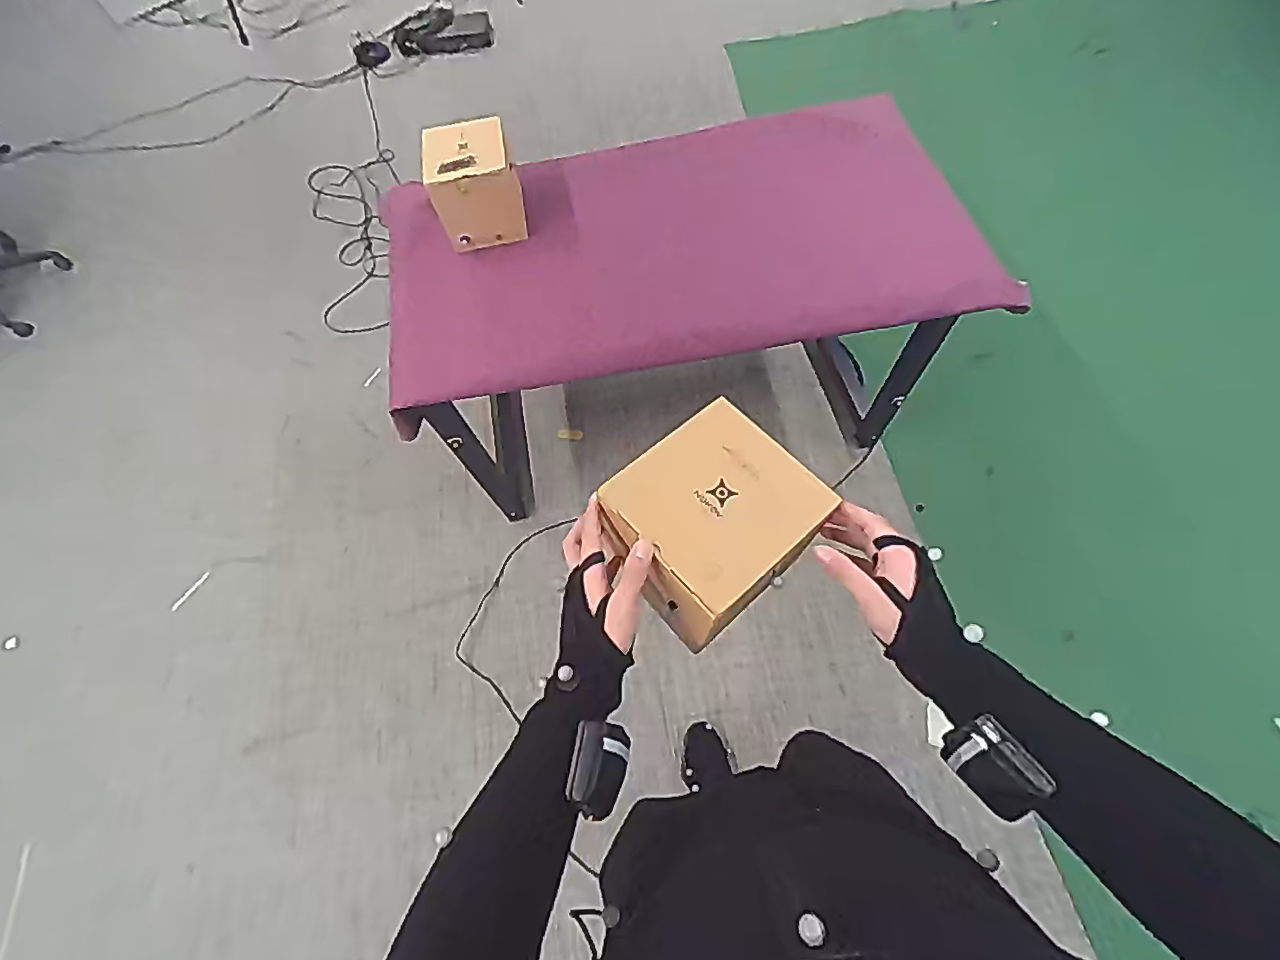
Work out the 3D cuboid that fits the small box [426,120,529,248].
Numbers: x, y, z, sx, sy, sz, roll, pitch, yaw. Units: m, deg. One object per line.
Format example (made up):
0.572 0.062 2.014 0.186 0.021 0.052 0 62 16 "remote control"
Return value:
-0.341 -0.621 1.154 0.168 0.176 0.179 -11 64 -1 "small box"
